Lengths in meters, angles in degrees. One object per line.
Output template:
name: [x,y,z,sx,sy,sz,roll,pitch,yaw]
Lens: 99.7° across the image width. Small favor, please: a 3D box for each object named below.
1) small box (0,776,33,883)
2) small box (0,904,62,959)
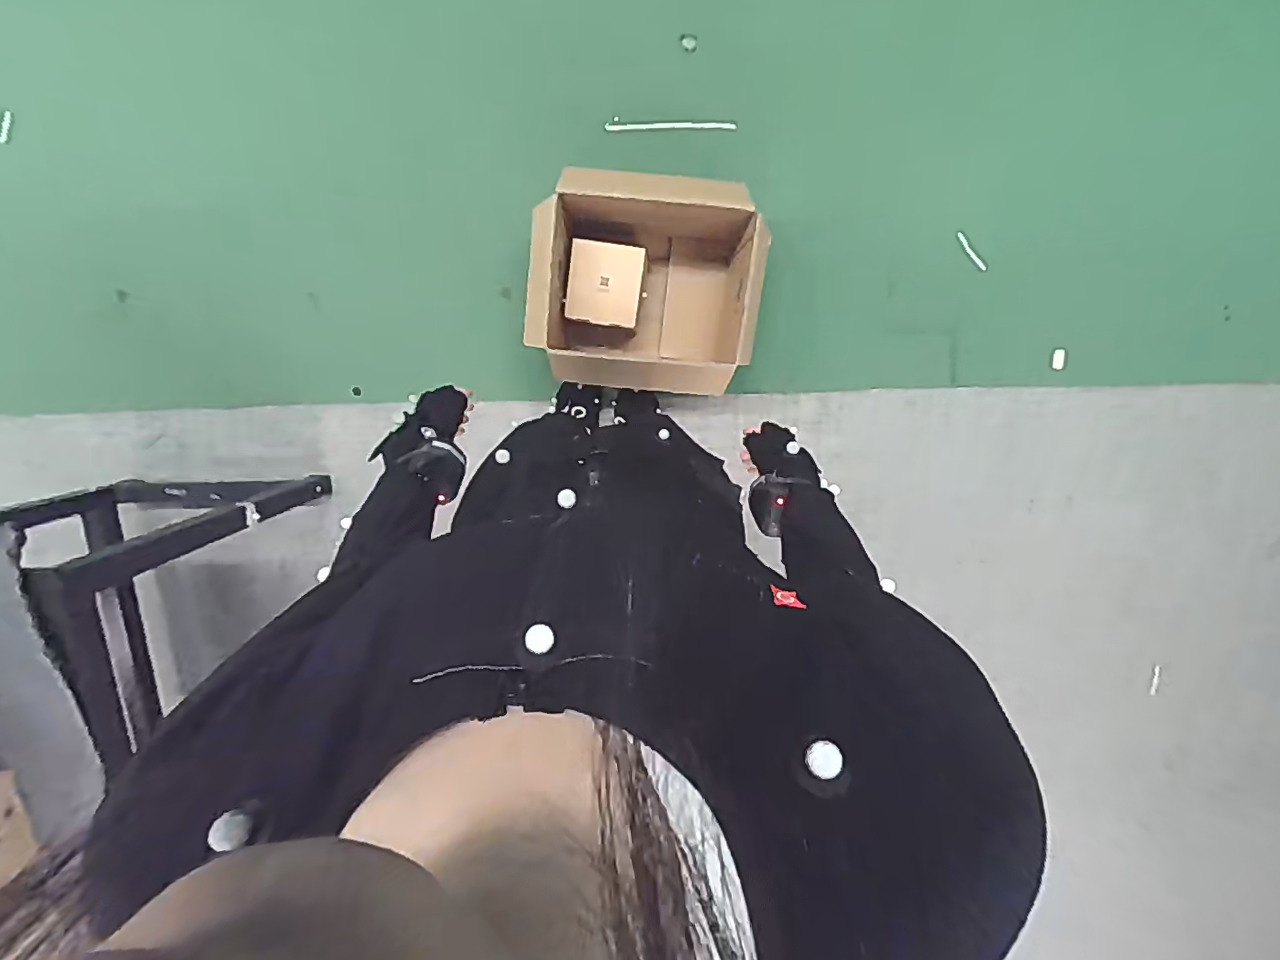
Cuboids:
small box: [-1.064,0.556,0.779,0.179,0.176,0.168,-2,103,0]
small box: [-1.055,0.793,0.831,0.179,0.176,0.168,-1,102,1]
